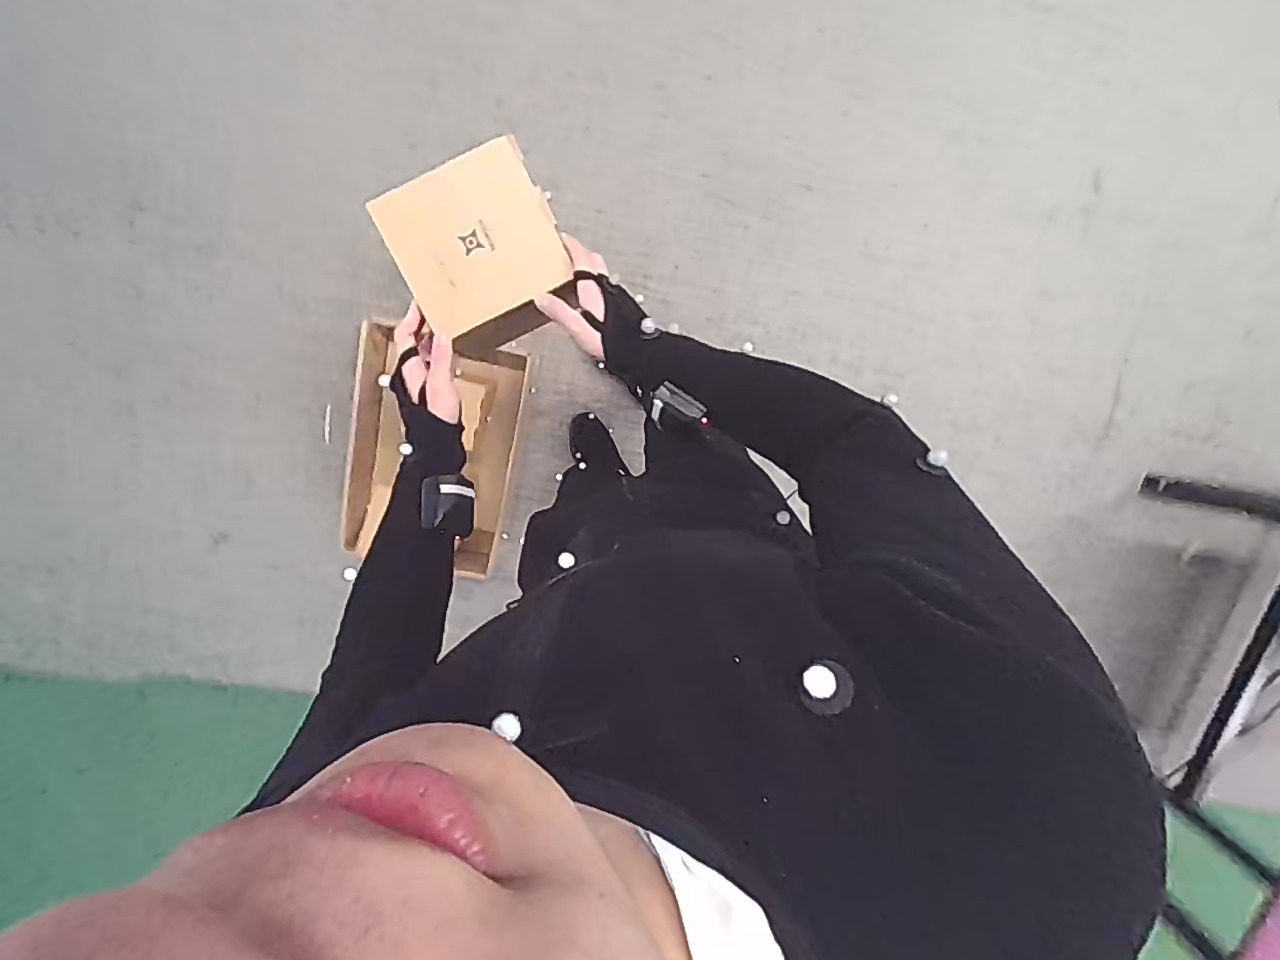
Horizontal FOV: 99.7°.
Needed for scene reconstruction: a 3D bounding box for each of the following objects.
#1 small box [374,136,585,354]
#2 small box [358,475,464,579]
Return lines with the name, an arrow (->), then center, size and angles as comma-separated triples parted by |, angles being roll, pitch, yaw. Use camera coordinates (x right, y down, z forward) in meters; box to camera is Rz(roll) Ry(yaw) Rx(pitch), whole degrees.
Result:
small box -> -0.178, -0.268, 0.661 | 0.179, 0.176, 0.168 | -25, 98, 1
small box -> -0.533, 0.103, 1.285 | 0.168, 0.176, 0.179 | 21, 101, -8
